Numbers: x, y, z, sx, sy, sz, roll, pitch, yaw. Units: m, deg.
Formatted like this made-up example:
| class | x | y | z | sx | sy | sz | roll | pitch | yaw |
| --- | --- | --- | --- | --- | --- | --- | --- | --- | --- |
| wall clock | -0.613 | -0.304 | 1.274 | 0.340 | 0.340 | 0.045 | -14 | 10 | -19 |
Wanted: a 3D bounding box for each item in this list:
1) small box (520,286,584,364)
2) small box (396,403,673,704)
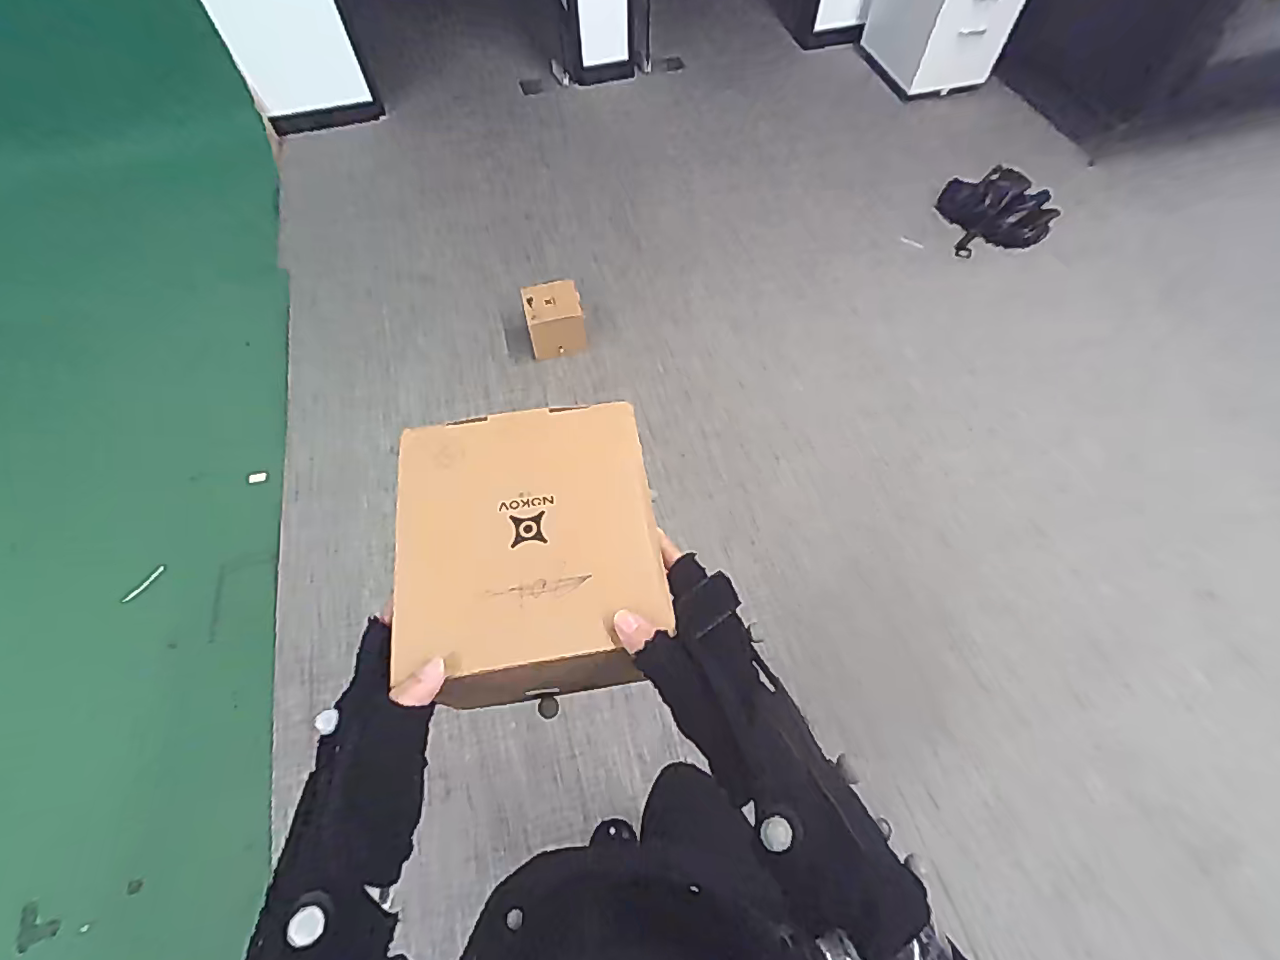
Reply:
| class | x | y | z | sx | sy | sz | roll | pitch | yaw |
| --- | --- | --- | --- | --- | --- | --- | --- | --- | --- |
| small box | -0.286 | -0.509 | 1.785 | 0.179 | 0.176 | 0.168 | -12 | 61 | -7 |
| small box | -0.075 | 0.065 | 0.427 | 0.168 | 0.176 | 0.179 | -8 | 63 | -6 |
